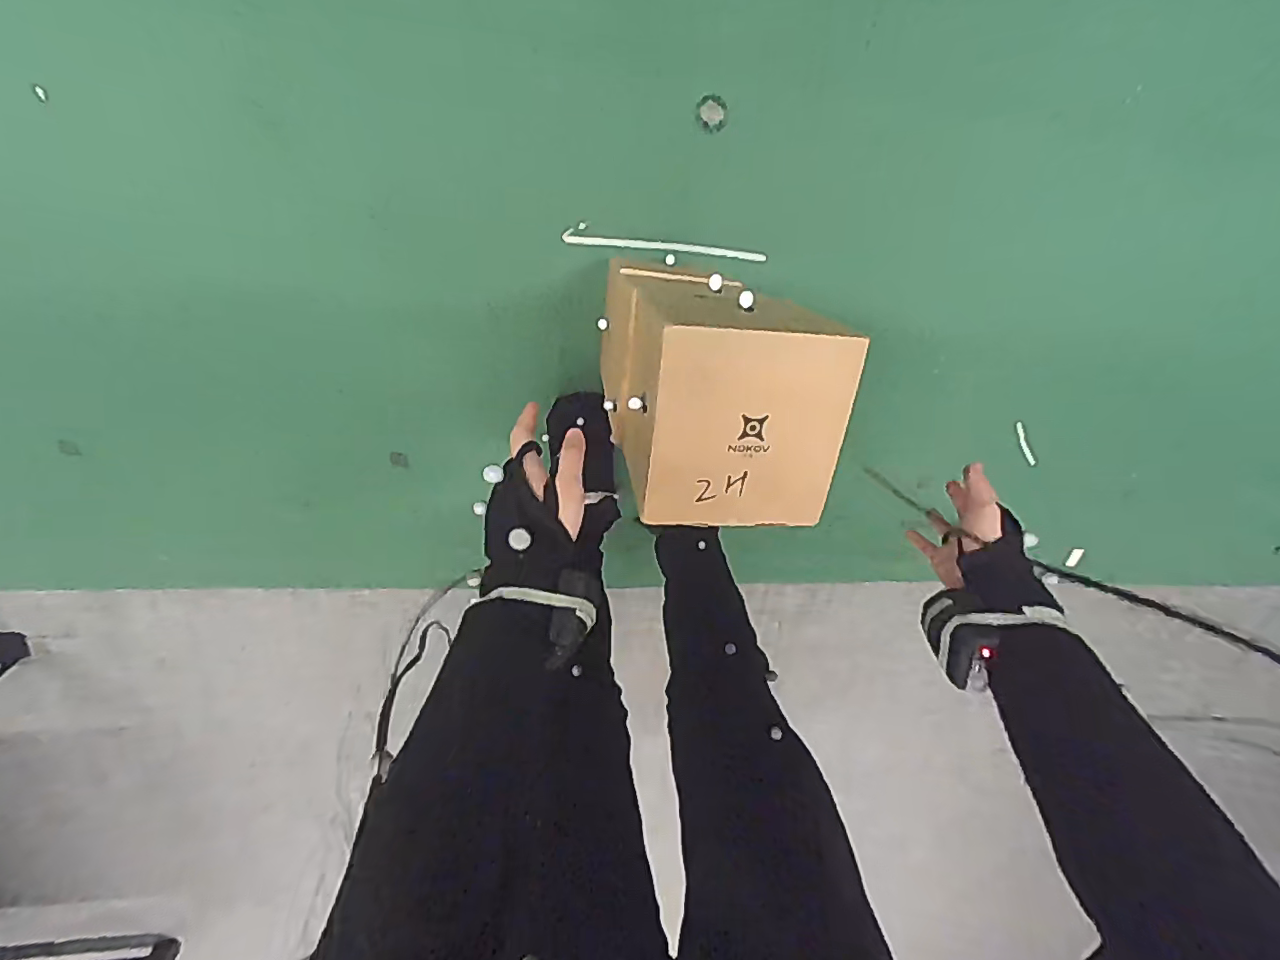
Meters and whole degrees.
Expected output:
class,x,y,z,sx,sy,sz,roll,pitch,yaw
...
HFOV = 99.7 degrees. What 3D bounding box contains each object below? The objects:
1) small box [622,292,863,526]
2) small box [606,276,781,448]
class,x,y,z,sx,sy,sz,roll,pitch,yaw
small box,0.075,-0.074,0.512,0.168,0.176,0.179,2,117,-8
small box,0.050,-0.145,0.660,0.168,0.176,0.179,3,116,-9
